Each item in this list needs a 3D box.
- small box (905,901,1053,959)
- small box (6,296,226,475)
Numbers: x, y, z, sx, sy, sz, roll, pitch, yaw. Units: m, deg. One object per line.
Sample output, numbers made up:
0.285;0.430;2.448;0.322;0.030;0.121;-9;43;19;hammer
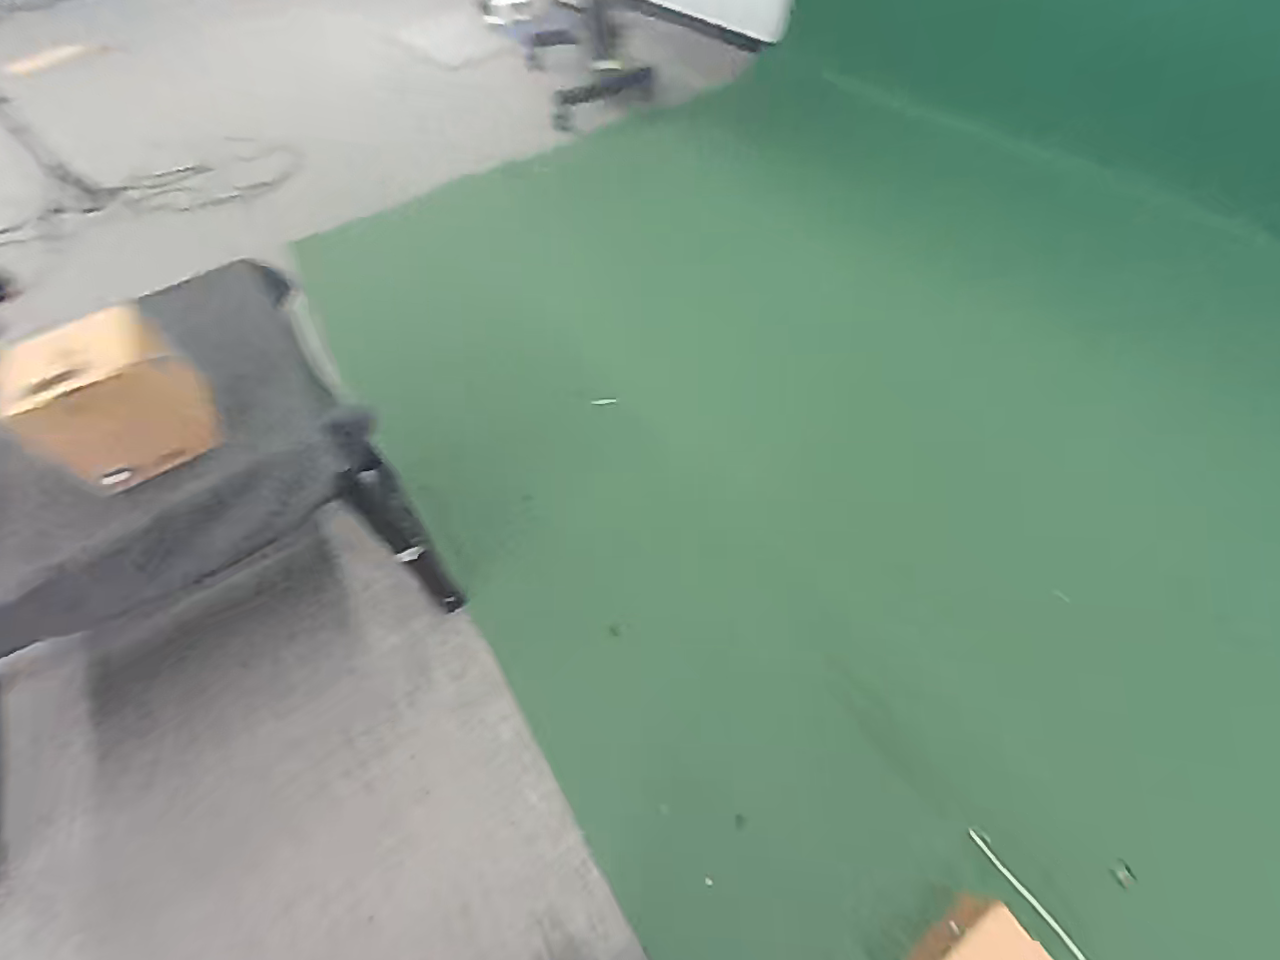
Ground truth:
0.576;0.834;0.893;0.179;0.176;0.168;-28;56;-14;small box
-0.756;-0.131;0.799;0.168;0.176;0.179;-30;57;-15;small box
